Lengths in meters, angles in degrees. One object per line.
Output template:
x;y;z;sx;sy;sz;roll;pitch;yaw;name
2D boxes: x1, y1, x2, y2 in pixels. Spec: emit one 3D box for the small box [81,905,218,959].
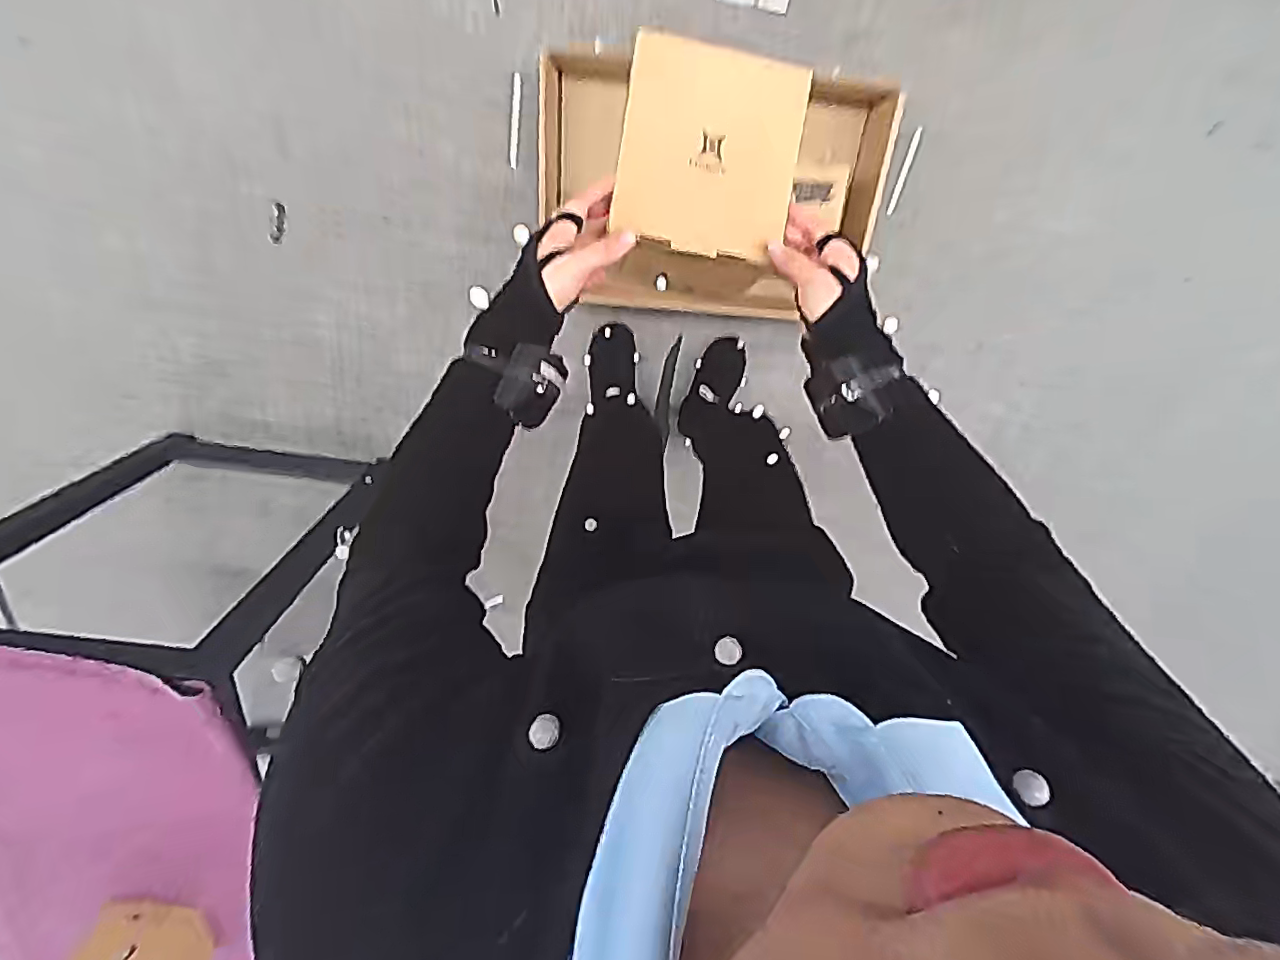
-0.959;0.953;1.035;0.168;0.176;0.179;9;117;-4;small box
